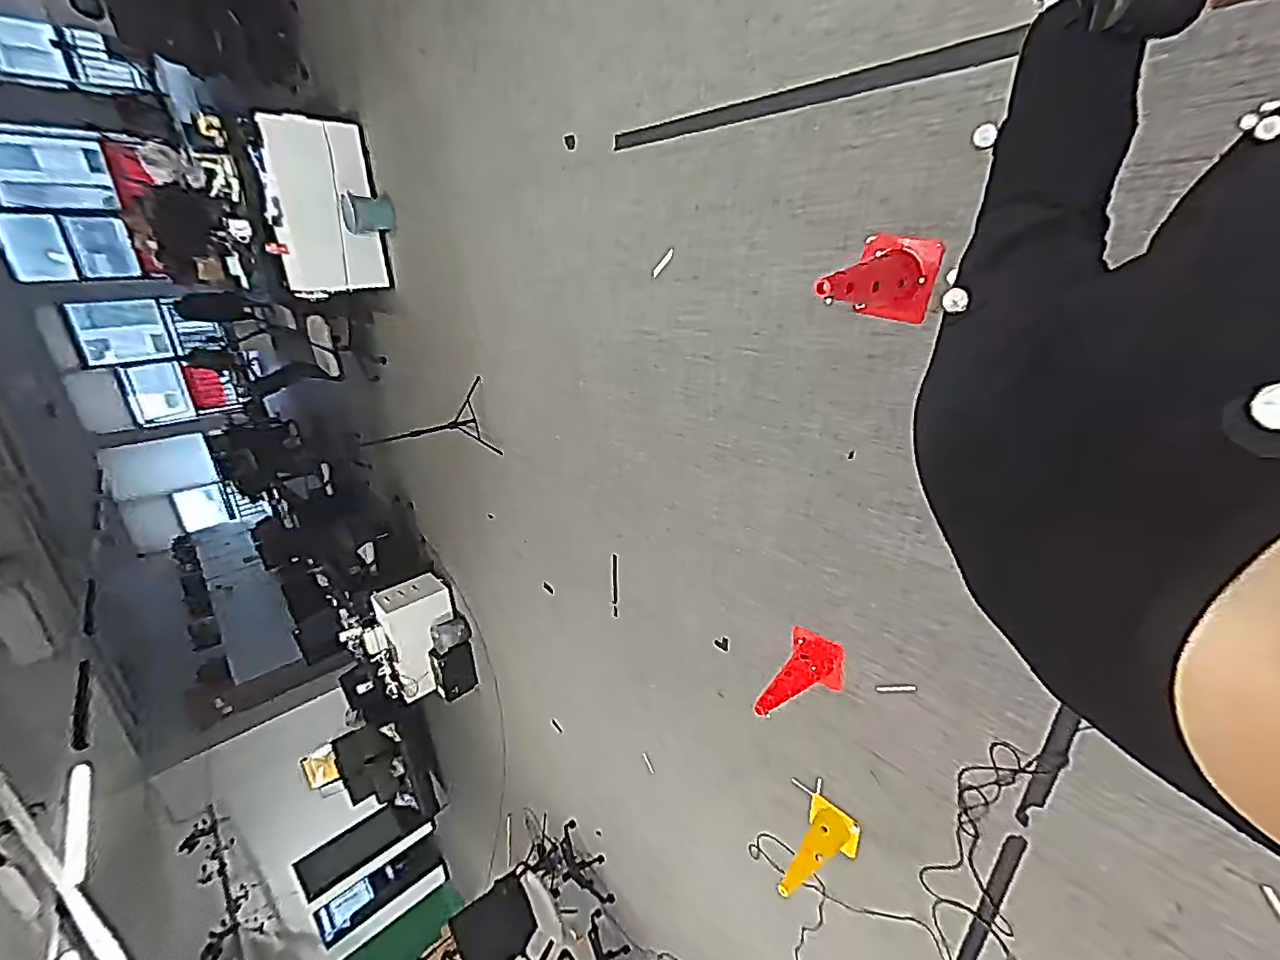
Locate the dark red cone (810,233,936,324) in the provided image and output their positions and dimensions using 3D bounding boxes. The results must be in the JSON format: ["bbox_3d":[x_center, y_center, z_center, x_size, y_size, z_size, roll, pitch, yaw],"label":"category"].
[{"bbox_3d":[0.518,-0.470,1.280,0.201,0.394,0.202,28,127,39],"label":"dark red cone"}]

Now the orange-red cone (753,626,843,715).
[{"bbox_3d":[0.515,0.695,1.858,0.198,0.360,0.199,20,123,45],"label":"orange-red cone"}]
